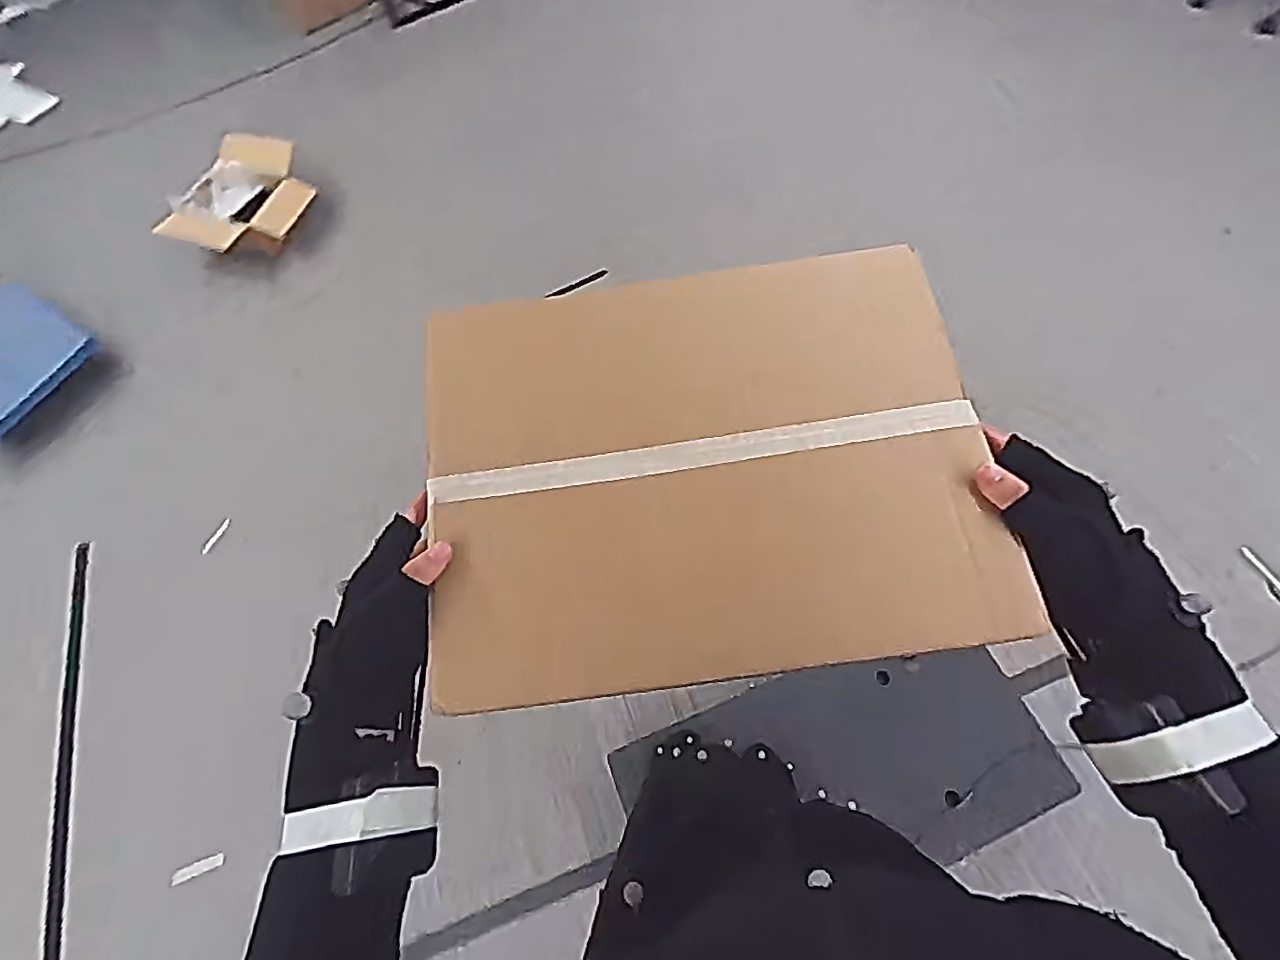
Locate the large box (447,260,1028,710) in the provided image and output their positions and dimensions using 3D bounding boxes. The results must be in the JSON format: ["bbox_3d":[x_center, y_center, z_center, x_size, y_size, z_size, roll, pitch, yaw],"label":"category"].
[{"bbox_3d":[0.061,0.031,0.555,0.408,0.320,0.320,-8,71,2],"label":"large box"}]

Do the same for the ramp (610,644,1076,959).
[{"bbox_3d":[0.475,0.684,1.279,0.991,0.206,0.509,-26,64,-3],"label":"ramp"}]
